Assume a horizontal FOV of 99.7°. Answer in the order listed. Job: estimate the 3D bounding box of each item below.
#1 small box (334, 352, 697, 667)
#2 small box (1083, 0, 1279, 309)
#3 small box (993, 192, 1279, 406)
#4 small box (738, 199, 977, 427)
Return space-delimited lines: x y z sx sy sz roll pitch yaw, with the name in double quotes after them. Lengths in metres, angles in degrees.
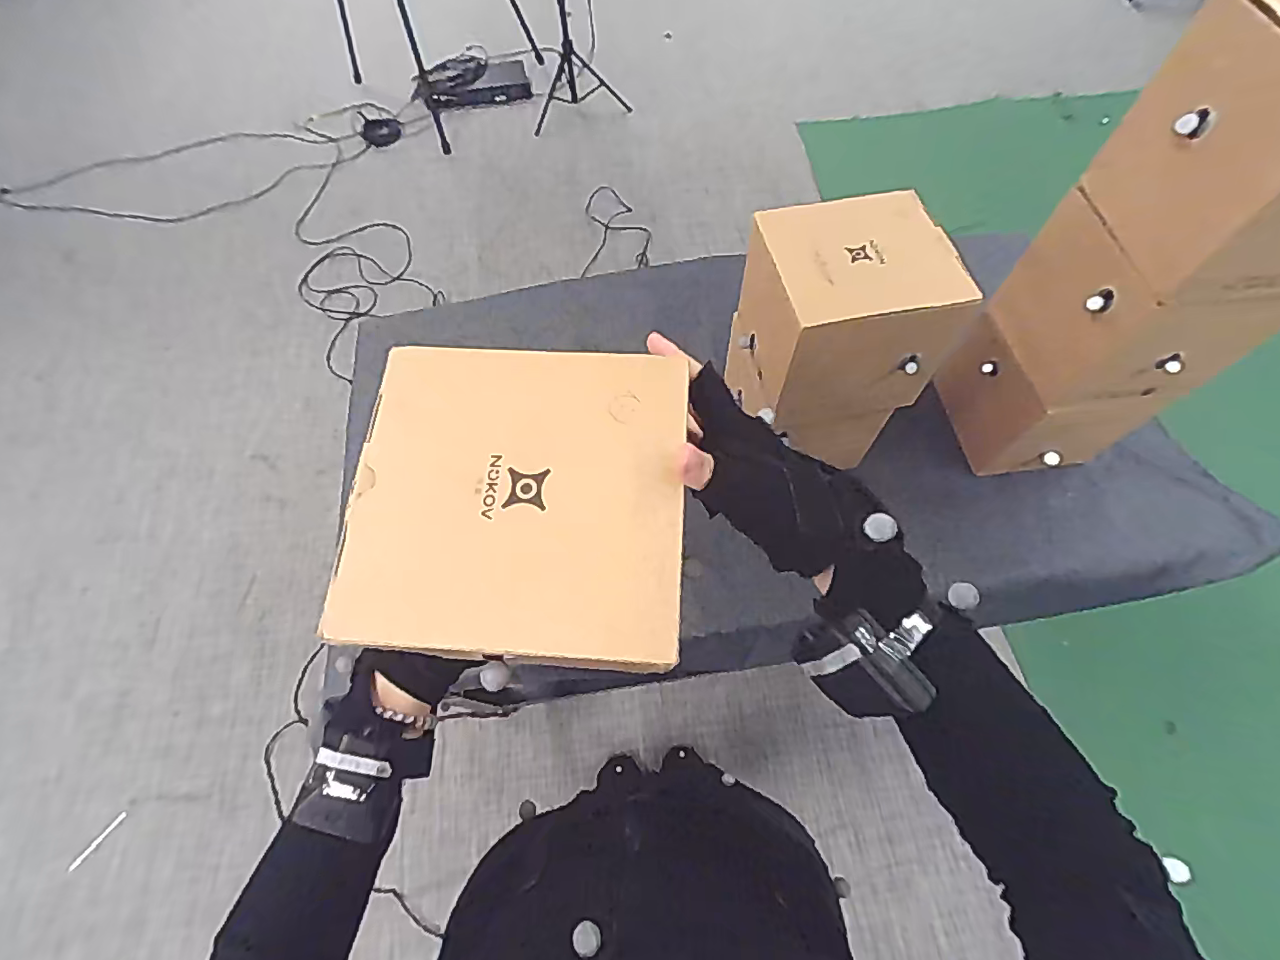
-0.057 0.033 0.363 0.179 0.176 0.168 3 70 3 "small box"
0.534 -0.270 0.455 0.168 0.176 0.179 -4 62 1 "small box"
0.542 -0.196 0.601 0.168 0.176 0.179 -5 62 0 "small box"
0.221 -0.179 0.606 0.179 0.176 0.168 -9 62 -3 "small box"
